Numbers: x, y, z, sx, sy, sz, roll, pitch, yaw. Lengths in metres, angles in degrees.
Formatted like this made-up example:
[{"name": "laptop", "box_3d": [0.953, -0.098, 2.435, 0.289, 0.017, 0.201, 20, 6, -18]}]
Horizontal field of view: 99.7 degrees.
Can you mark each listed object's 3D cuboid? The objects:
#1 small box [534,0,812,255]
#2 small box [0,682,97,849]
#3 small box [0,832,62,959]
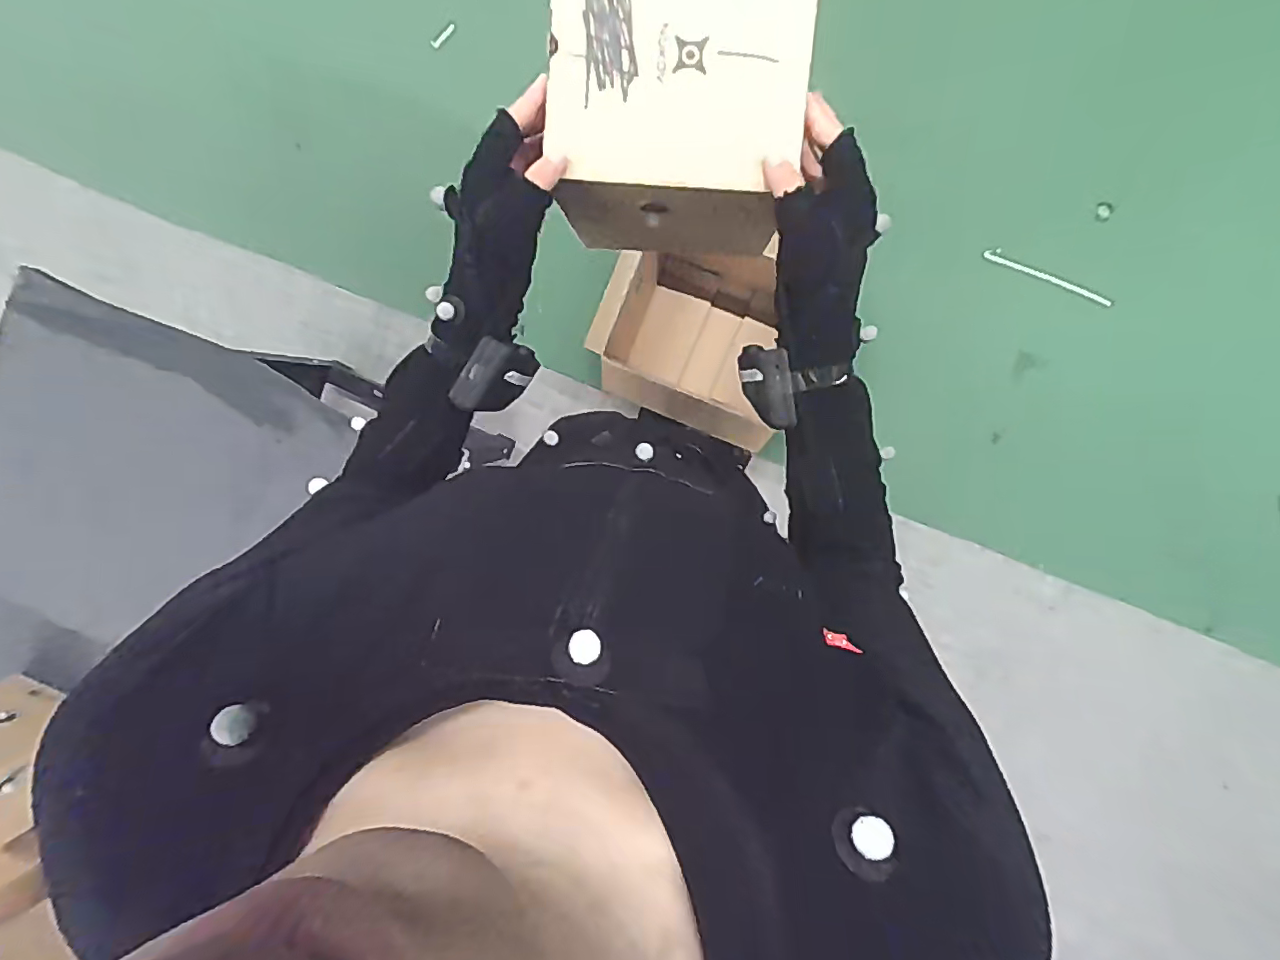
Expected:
[{"name": "small box", "box_3d": [0.027, -0.289, 0.430, 0.179, 0.176, 0.168, 5, 98, 4]}, {"name": "small box", "box_3d": [-1.011, 0.449, 0.840, 0.168, 0.176, 0.179, 22, 100, 4]}, {"name": "small box", "box_3d": [-1.126, 0.706, 0.893, 0.168, 0.176, 0.179, 22, 100, 3]}]
